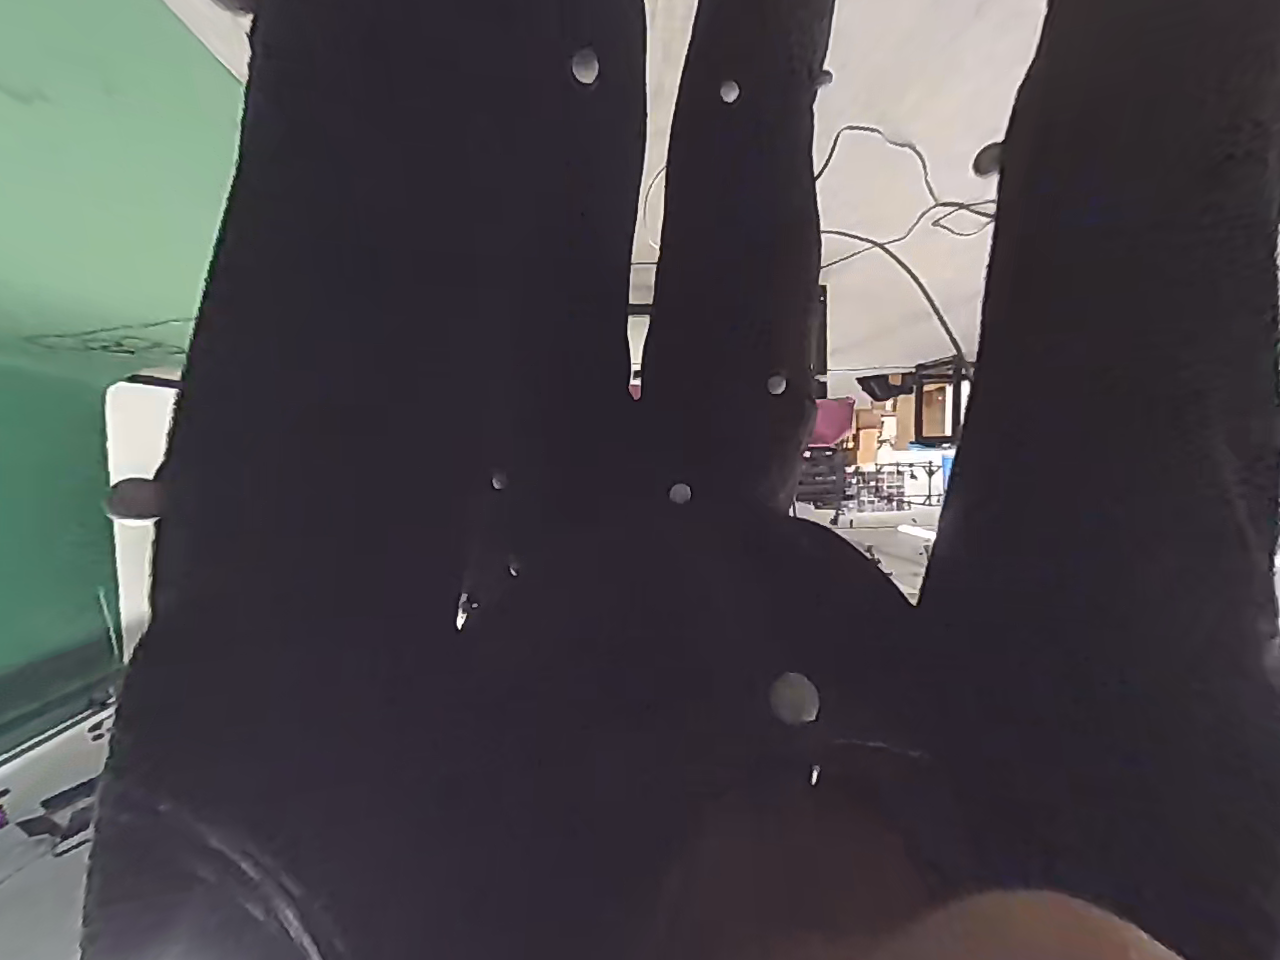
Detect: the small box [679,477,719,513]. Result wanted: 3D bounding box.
[{"bbox_3d":[0.285,0.066,2.650,0.168,0.176,0.179,0,-176,-6],"label":"small box"}]
